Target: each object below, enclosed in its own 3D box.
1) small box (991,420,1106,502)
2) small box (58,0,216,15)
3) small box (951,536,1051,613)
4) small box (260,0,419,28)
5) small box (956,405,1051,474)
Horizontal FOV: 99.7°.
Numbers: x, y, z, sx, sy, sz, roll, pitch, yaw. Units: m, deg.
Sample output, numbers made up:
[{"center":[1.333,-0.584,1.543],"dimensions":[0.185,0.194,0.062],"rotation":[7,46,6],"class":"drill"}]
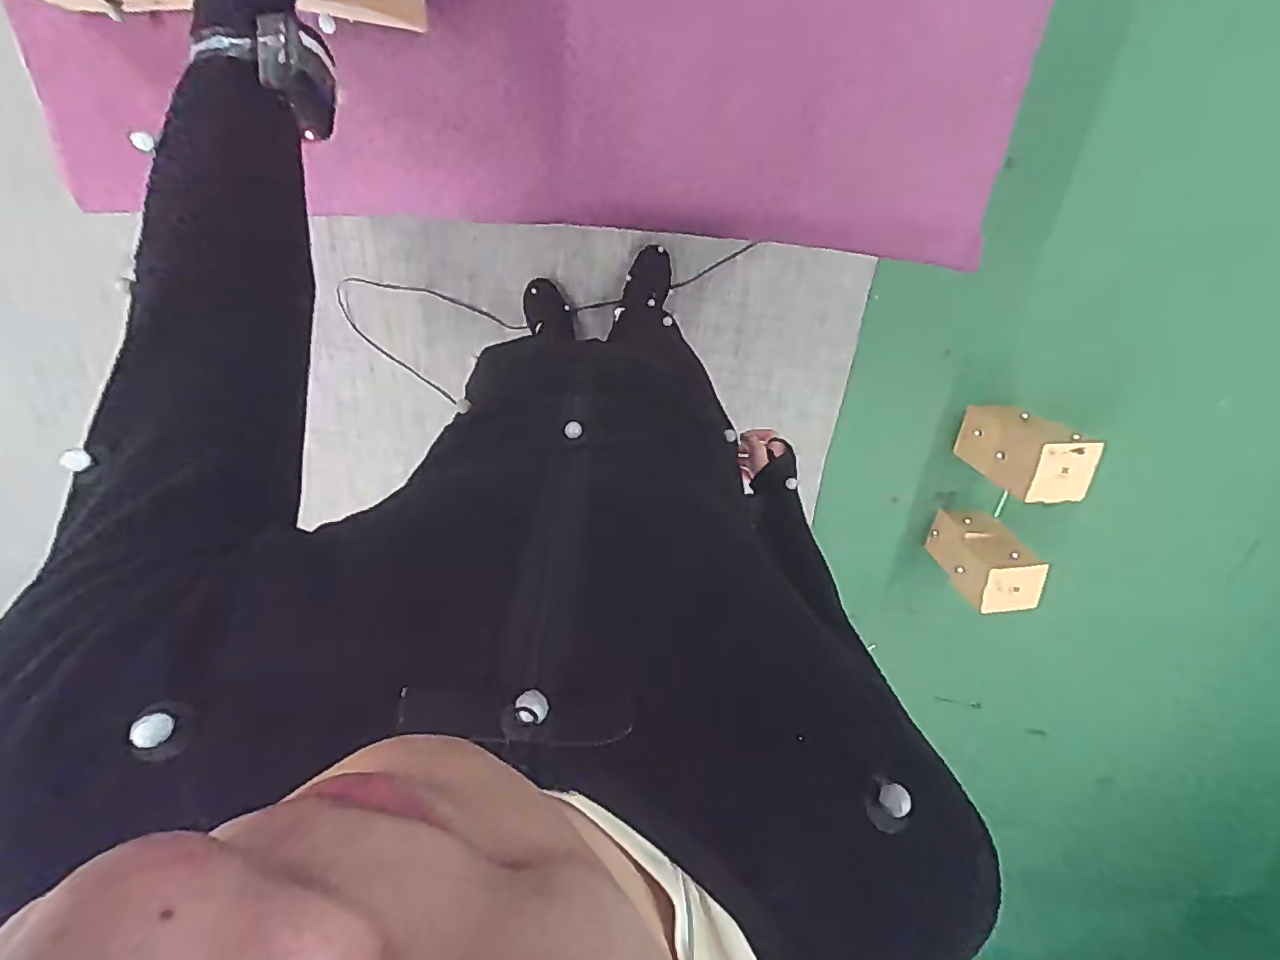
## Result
[{"center":[1.115,-0.054,1.495],"dimensions":[0.168,0.176,0.179],"rotation":[-1,117,-3],"class":"small box"},{"center":[-0.560,-0.577,0.509],"dimensions":[0.168,0.176,0.179],"rotation":[-3,118,-1],"class":"small box"},{"center":[1.104,0.286,1.668],"dimensions":[0.179,0.176,0.168],"rotation":[-6,117,1],"class":"small box"},{"center":[-0.314,-0.538,0.485],"dimensions":[0.168,0.176,0.179],"rotation":[6,125,-4],"class":"small box"},{"center":[1.106,-0.125,1.643],"dimensions":[0.179,0.176,0.168],"rotation":[1,117,-4],"class":"small box"}]
